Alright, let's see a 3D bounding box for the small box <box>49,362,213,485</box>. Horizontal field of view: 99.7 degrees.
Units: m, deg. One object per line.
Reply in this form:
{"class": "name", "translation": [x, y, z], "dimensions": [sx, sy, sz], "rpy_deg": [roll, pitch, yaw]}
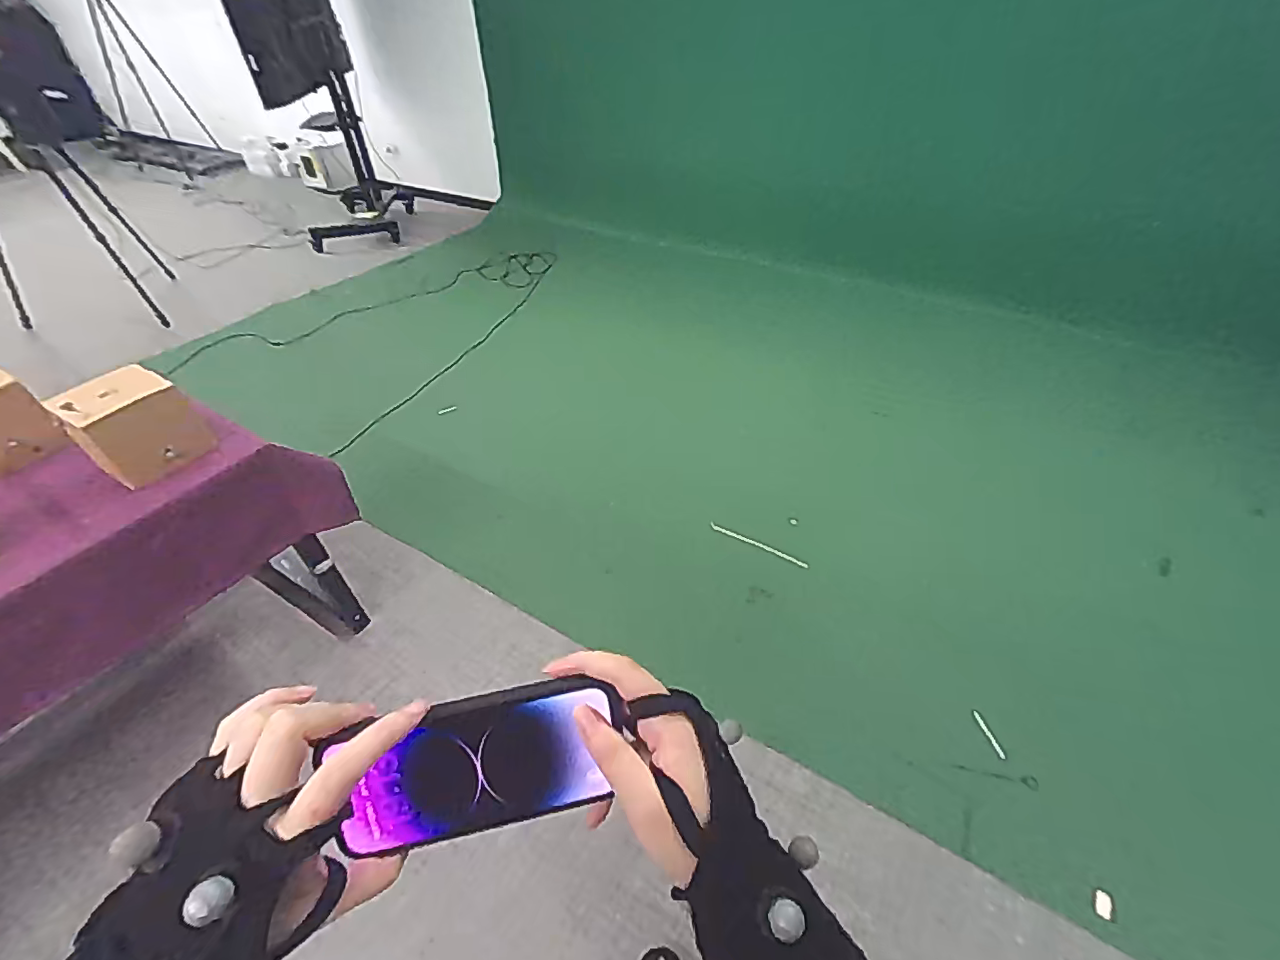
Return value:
{"class": "small box", "translation": [-1.060, -0.121, 1.148], "dimensions": [0.168, 0.176, 0.179], "rpy_deg": [22, 47, 23]}

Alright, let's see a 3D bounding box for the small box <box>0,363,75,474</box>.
{"class": "small box", "translation": [-1.405, -0.136, 1.167], "dimensions": [0.179, 0.176, 0.168], "rpy_deg": [21, 48, 21]}
